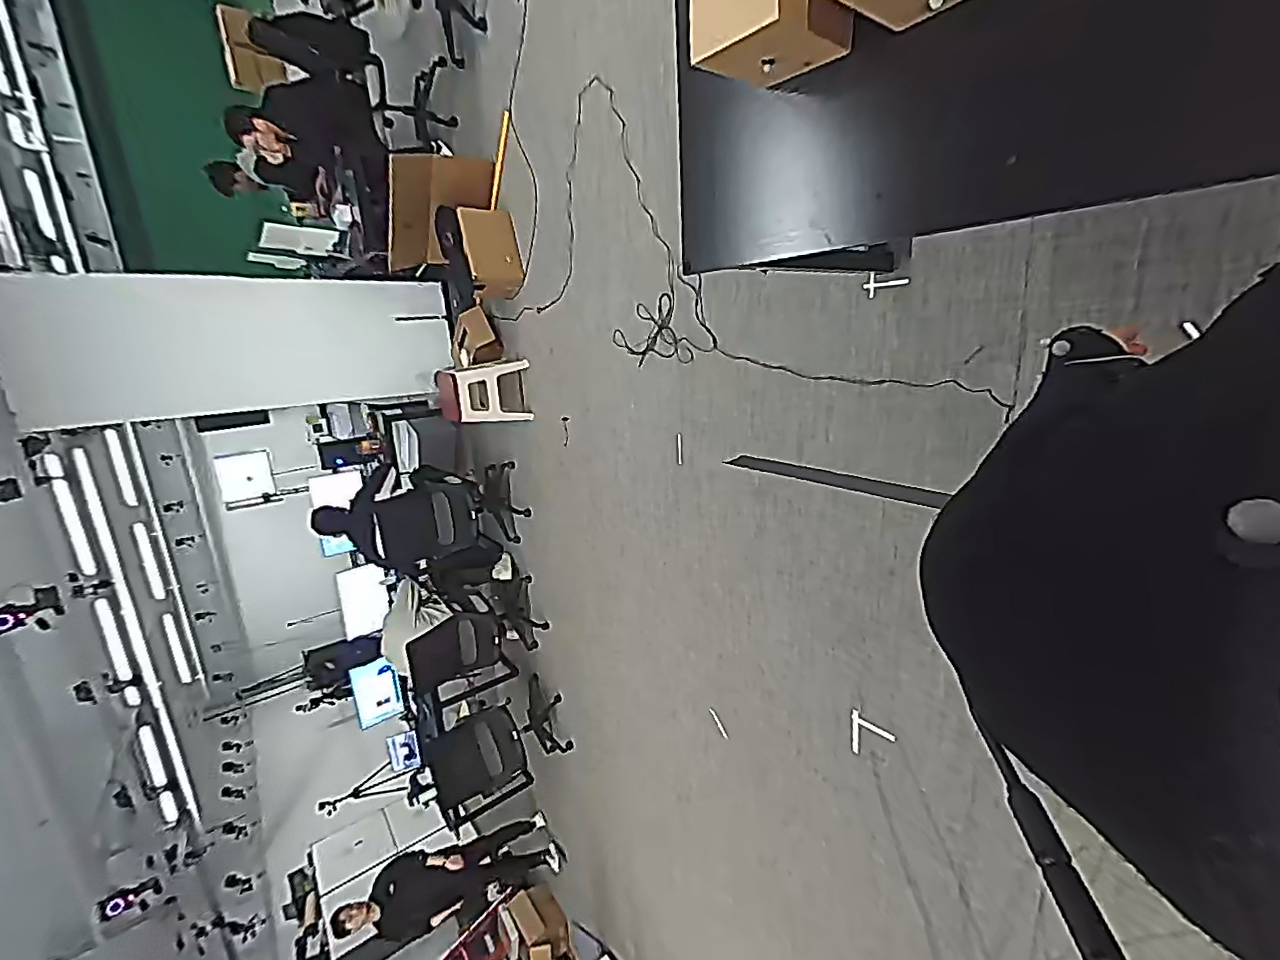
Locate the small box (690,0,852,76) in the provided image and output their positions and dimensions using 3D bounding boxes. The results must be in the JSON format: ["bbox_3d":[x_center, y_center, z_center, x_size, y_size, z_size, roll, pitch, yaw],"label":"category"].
[{"bbox_3d":[0.187,-0.705,0.766,0.168,0.176,0.179,20,117,49],"label":"small box"}]

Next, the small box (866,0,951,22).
[{"bbox_3d":[0.322,-0.659,0.593,0.168,0.176,0.179,15,115,51],"label":"small box"}]
